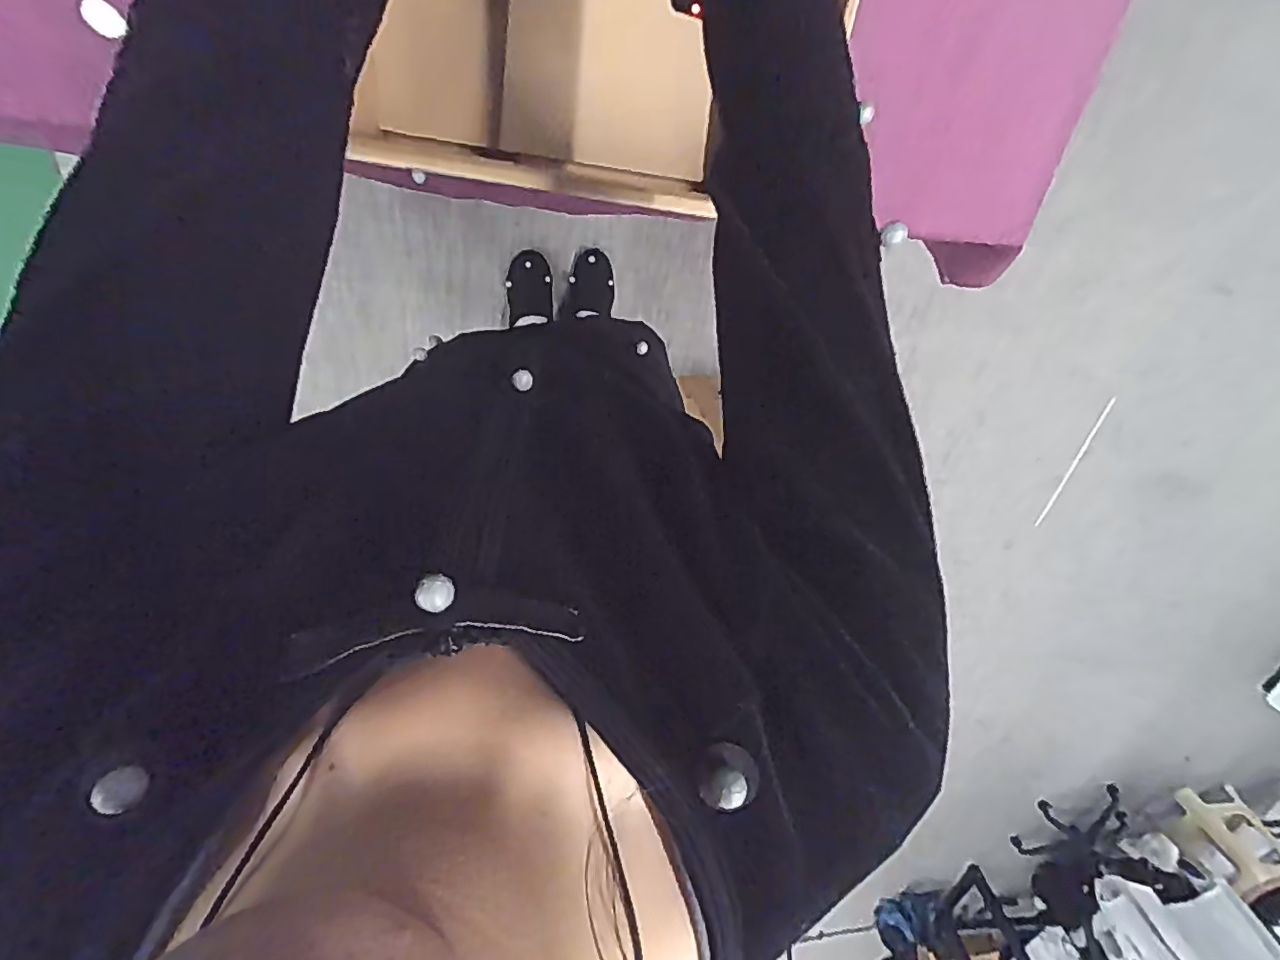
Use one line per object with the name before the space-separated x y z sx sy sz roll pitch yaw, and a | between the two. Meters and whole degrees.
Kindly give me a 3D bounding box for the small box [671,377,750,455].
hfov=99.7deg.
small box | 0.185 -0.177 1.483 0.179 0.176 0.168 -1 120 -7
